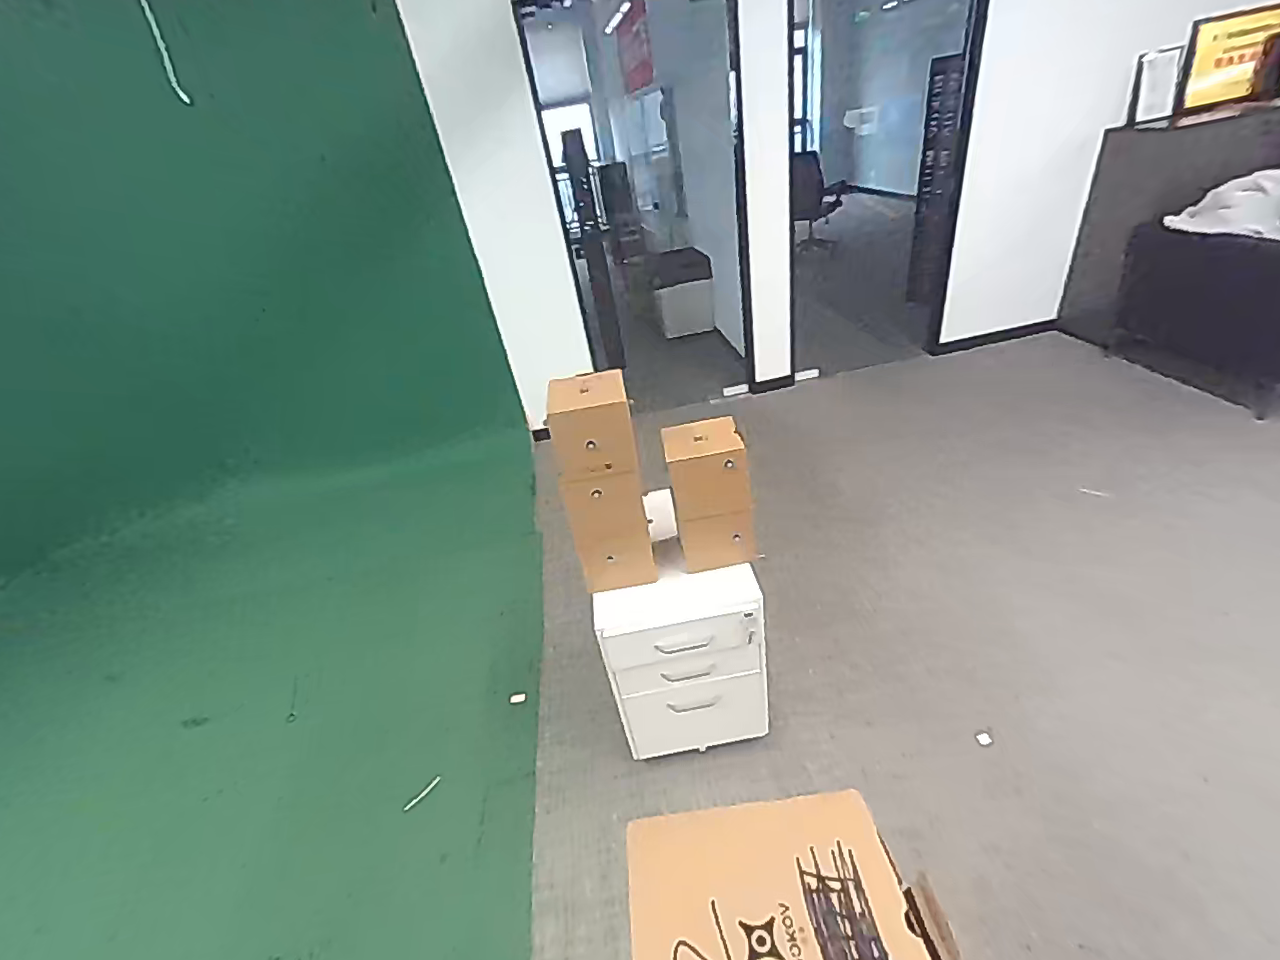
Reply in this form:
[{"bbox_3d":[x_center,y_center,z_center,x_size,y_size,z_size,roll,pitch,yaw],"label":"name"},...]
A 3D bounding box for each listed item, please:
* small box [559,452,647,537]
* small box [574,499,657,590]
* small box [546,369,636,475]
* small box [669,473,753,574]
[{"bbox_3d":[-0.086,0.017,1.269,0.179,0.176,0.168,-9,33,-1],"label":"small box"},{"bbox_3d":[-0.061,0.155,1.355,0.179,0.176,0.168,-10,34,0],"label":"small box"},{"bbox_3d":[-0.103,-0.123,1.183,0.168,0.176,0.179,-9,33,-1],"label":"small box"},{"bbox_3d":[0.181,0.110,1.359,0.179,0.176,0.168,-13,32,1],"label":"small box"}]
